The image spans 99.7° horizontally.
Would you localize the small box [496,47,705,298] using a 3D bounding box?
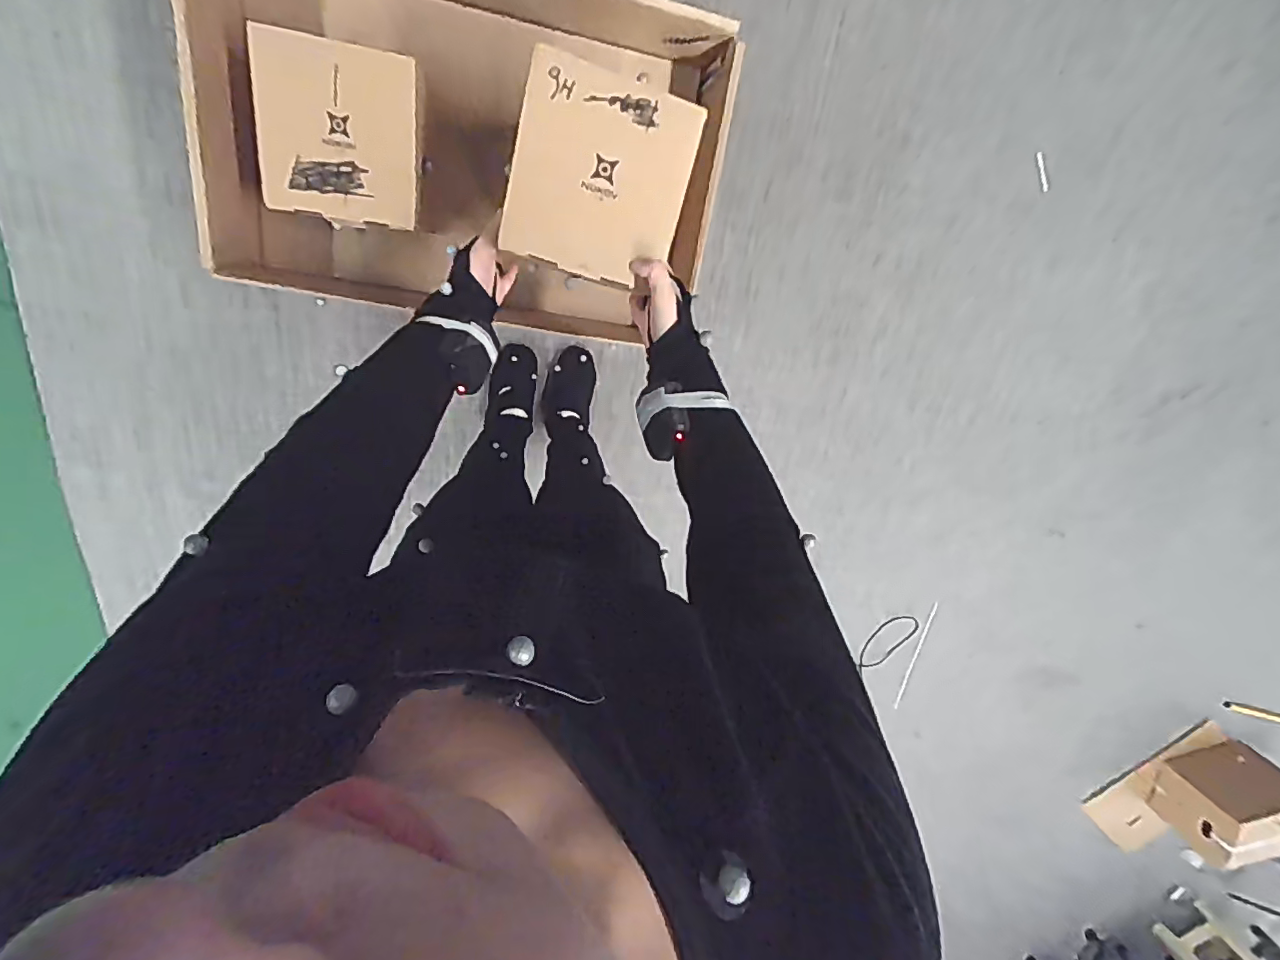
[{"bbox_3d":[-0.048,-0.312,0.592,0.168,0.176,0.179,14,107,-13],"label":"small box"}]
